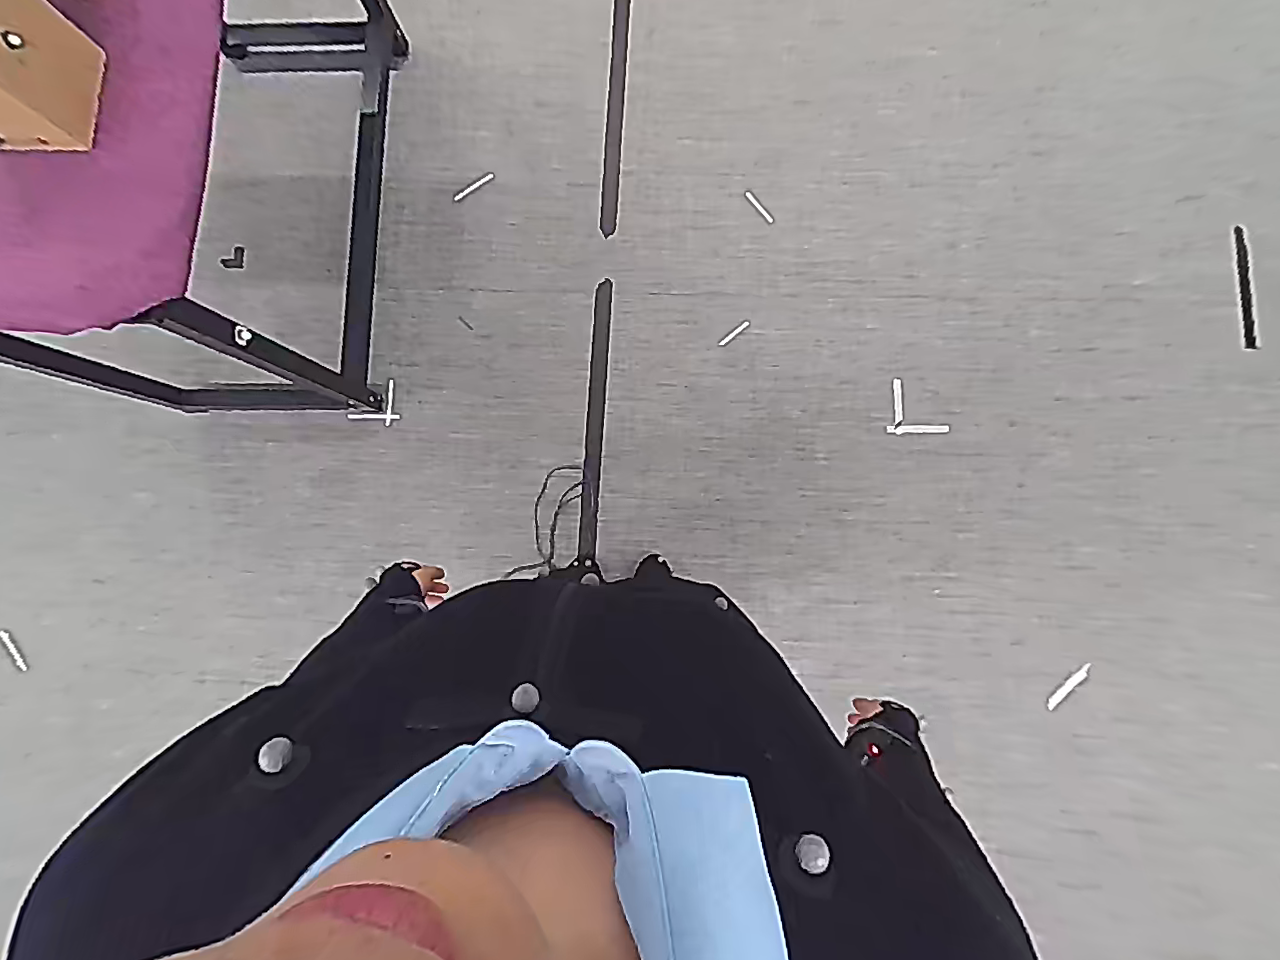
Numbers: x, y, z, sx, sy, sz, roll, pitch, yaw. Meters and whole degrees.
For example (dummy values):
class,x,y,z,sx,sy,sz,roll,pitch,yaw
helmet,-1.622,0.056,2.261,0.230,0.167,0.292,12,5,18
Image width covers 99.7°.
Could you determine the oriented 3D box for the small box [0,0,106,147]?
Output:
class,x,y,z,sx,sy,sz,roll,pitch,yaw
small box,-0.959,-0.630,0.804,0.168,0.176,0.179,2,83,1
